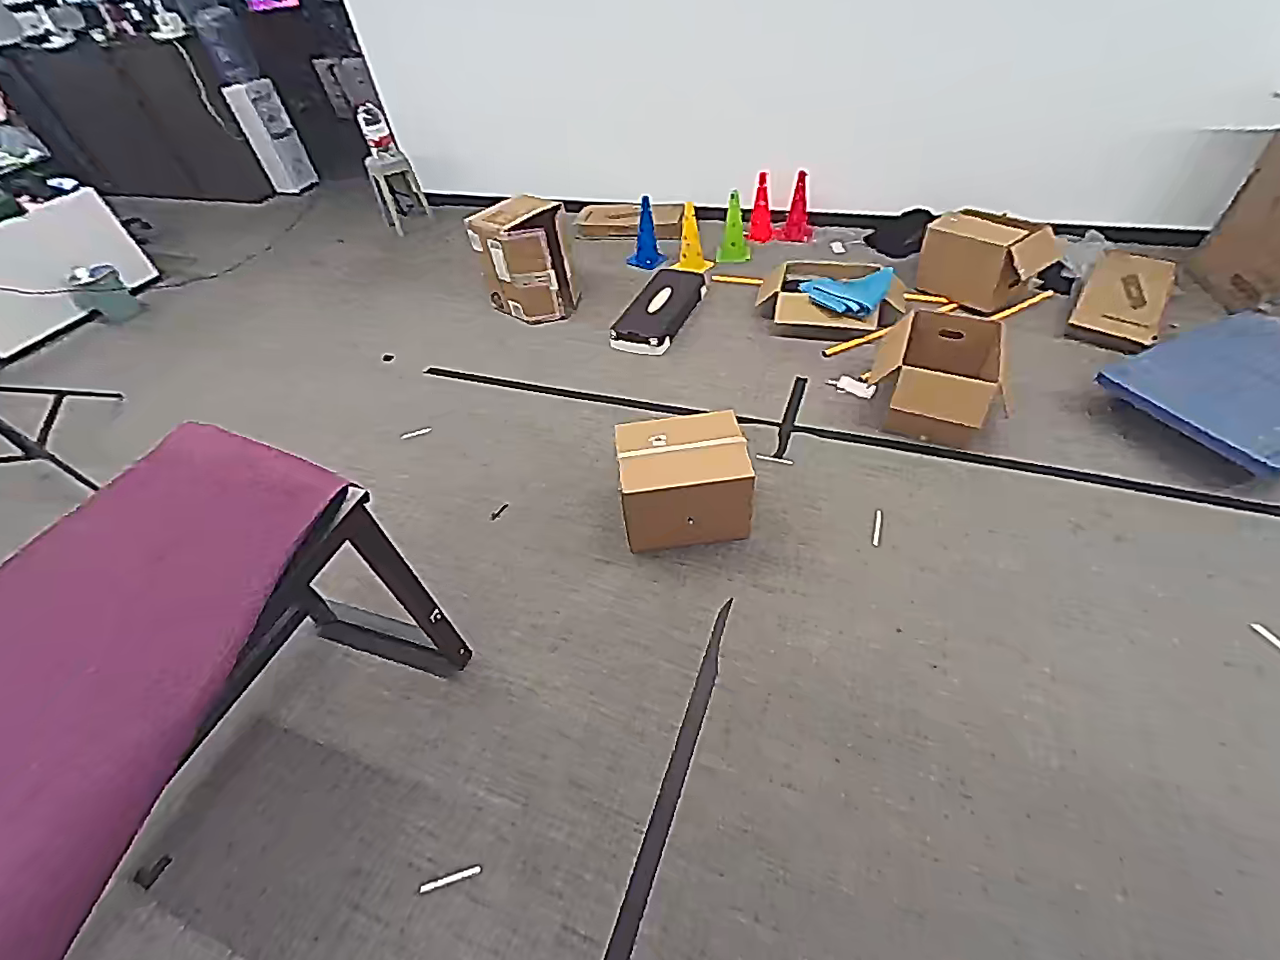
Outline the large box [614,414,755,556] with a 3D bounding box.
[{"bbox_3d":[0.144,0.019,1.805,0.408,0.320,0.320,-9,46,0],"label":"large box"}]
